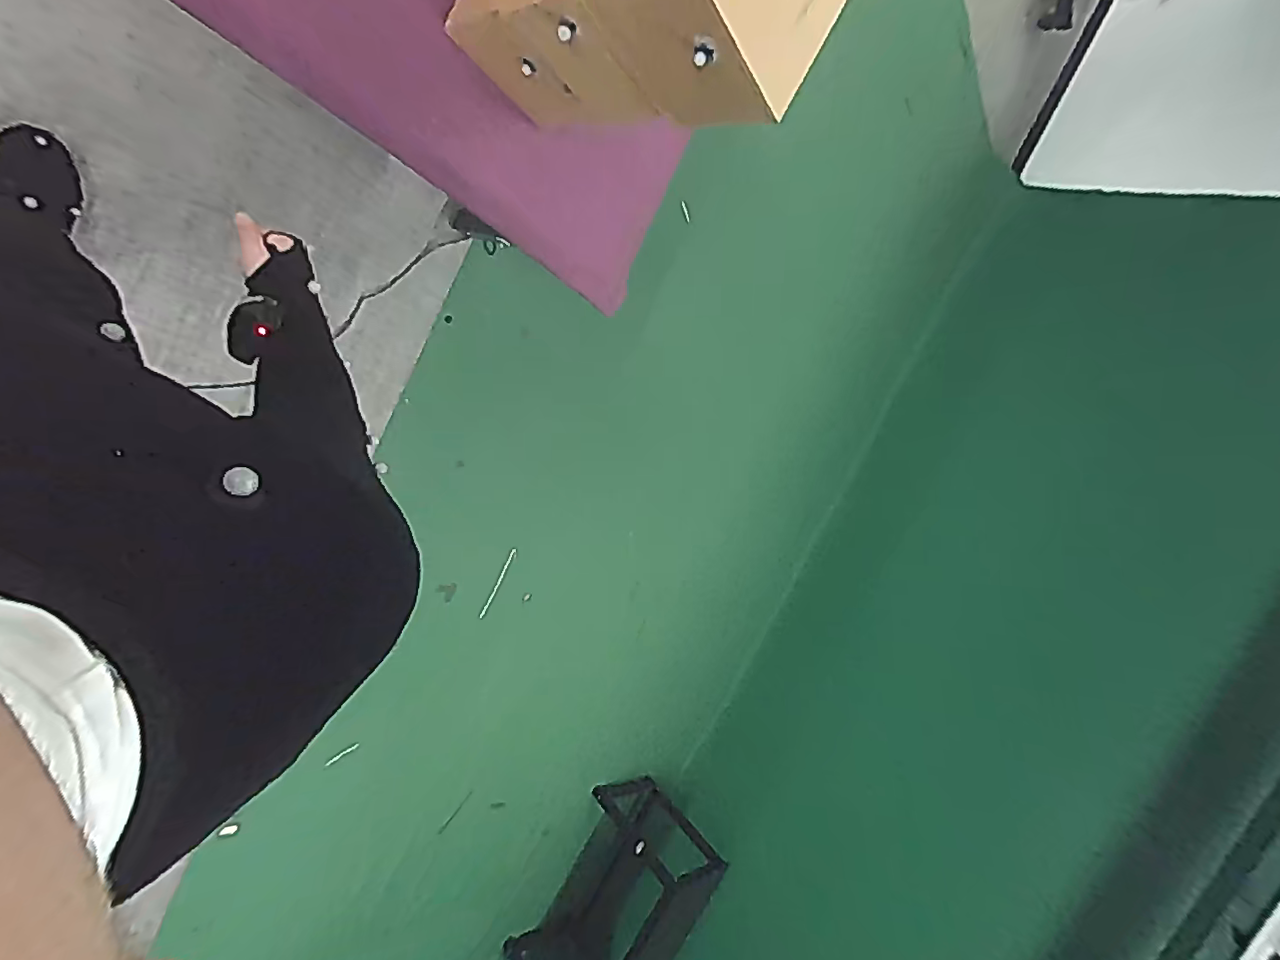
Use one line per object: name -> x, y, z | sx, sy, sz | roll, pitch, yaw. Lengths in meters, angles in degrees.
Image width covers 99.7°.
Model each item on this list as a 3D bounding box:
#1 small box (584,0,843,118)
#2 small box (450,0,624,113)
small box -> 0.072, -0.489, 0.530 | 0.179, 0.176, 0.168 | 27, 95, -49
small box -> -0.128, -0.638, 0.743 | 0.179, 0.176, 0.168 | 23, 97, -49
